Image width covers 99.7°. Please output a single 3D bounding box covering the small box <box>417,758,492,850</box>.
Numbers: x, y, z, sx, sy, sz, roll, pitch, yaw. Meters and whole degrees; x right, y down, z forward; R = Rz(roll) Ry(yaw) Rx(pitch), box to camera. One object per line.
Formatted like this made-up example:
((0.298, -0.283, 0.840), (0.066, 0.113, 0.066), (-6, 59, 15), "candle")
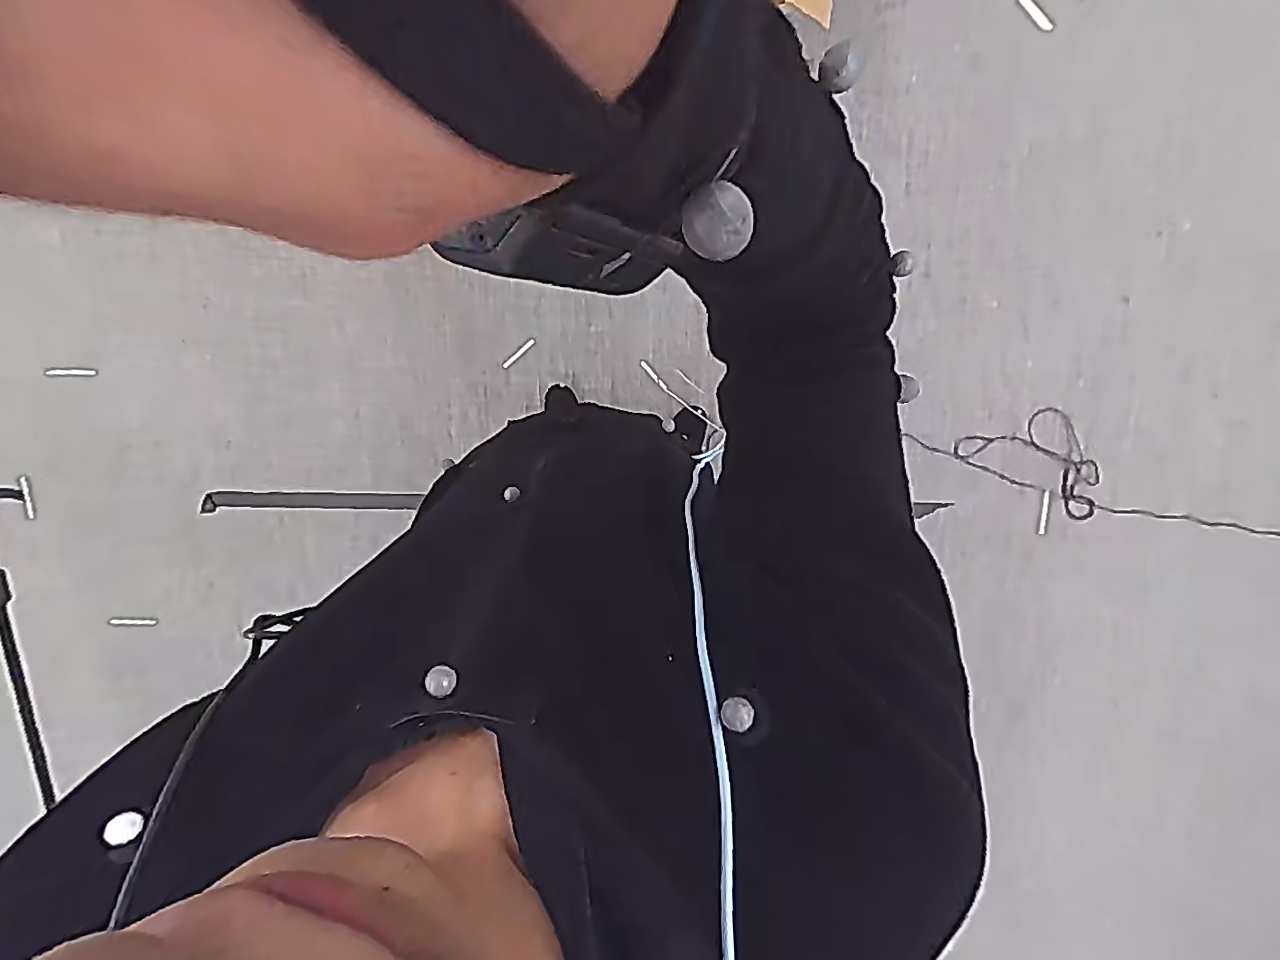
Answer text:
((-0.552, 0.969, 1.628), (0.168, 0.176, 0.179), (1, 102, 2), "small box")
